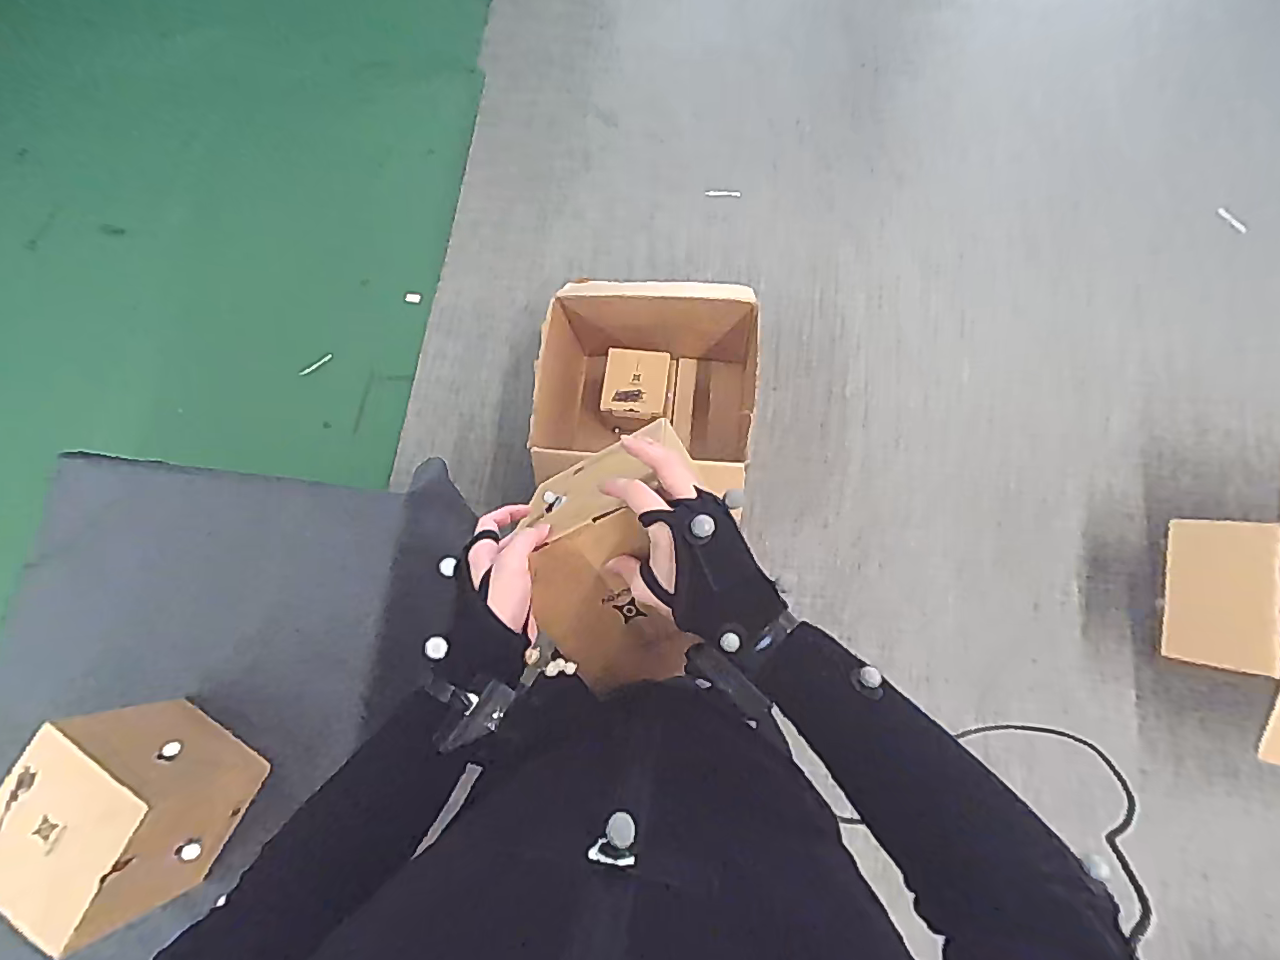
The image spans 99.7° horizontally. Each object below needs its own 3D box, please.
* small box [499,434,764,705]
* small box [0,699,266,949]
[{"bbox_3d":[-0.001,0.074,0.527,0.168,0.176,0.179,-28,112,17],"label":"small box"},{"bbox_3d":[-0.613,0.388,0.653,0.179,0.176,0.168,27,80,12],"label":"small box"}]
